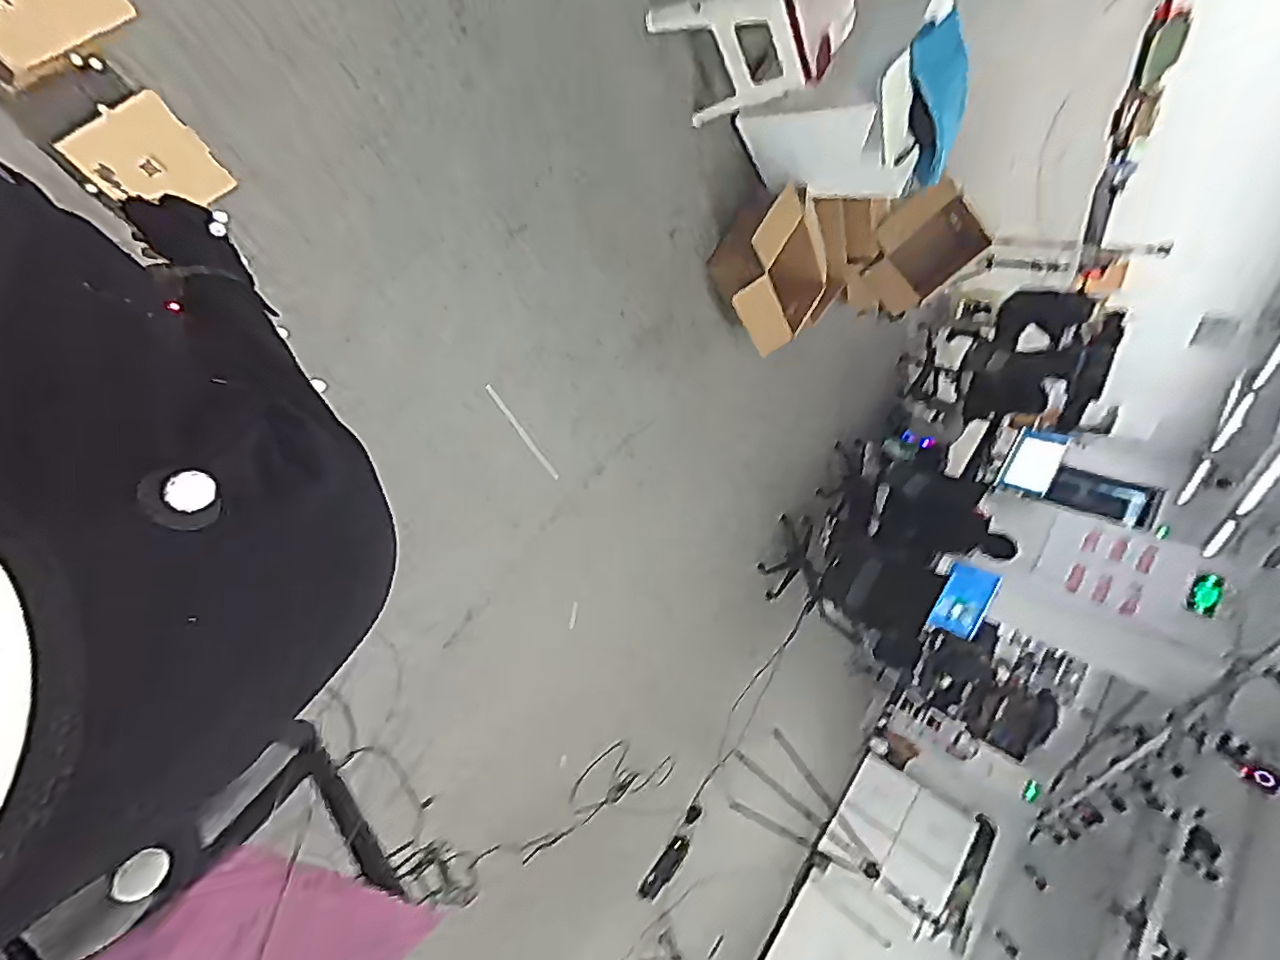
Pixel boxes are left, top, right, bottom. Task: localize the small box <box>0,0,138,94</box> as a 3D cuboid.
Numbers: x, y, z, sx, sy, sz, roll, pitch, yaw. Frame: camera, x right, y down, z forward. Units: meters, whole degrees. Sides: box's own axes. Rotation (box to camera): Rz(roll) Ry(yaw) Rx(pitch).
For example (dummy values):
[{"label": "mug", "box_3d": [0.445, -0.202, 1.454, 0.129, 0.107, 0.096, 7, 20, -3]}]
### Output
[{"label": "small box", "box_3d": [-0.829, -0.646, 0.715, 0.179, 0.176, 0.168, -51, 139, -20]}]
